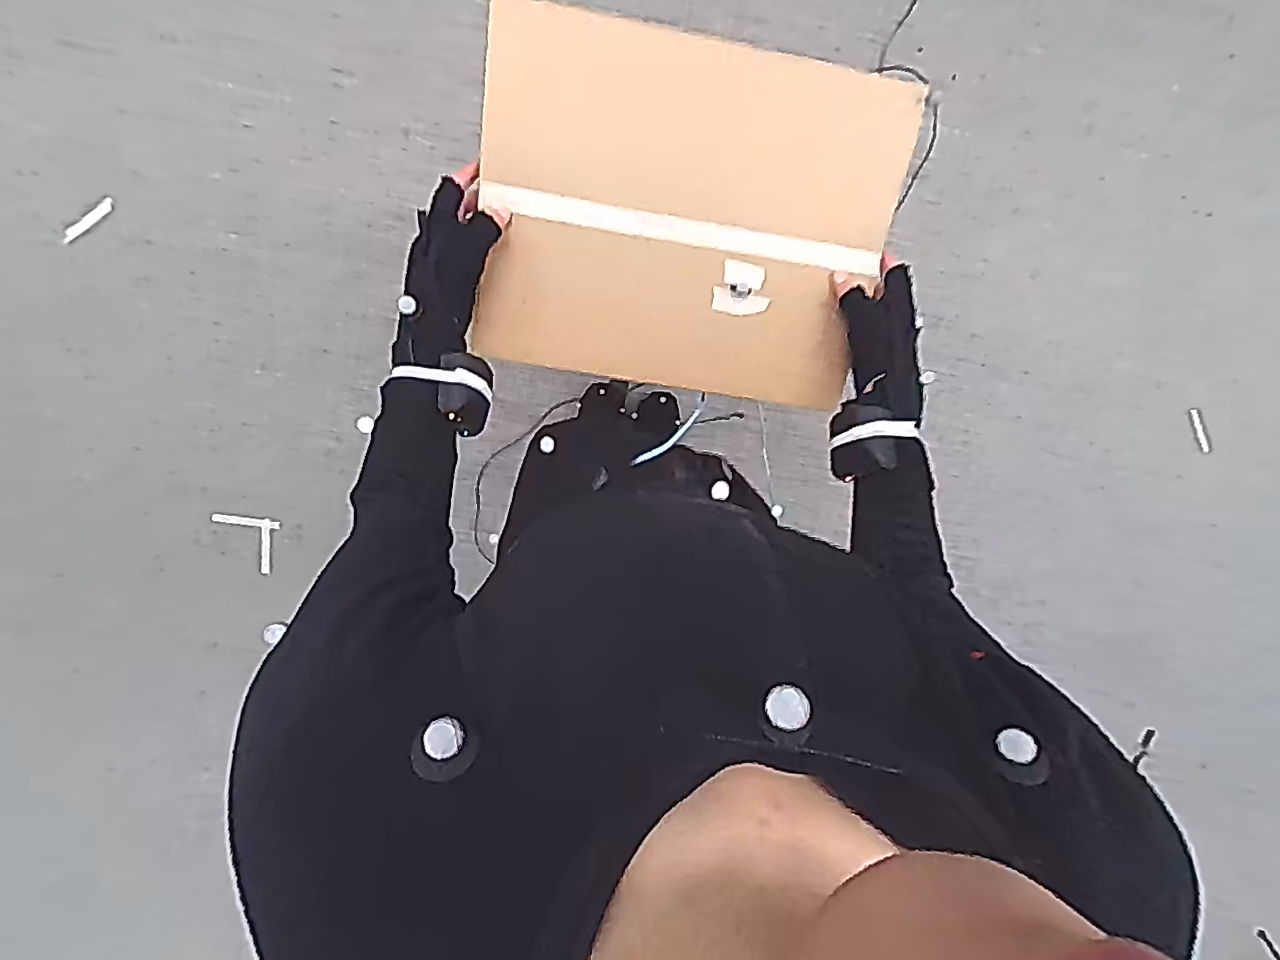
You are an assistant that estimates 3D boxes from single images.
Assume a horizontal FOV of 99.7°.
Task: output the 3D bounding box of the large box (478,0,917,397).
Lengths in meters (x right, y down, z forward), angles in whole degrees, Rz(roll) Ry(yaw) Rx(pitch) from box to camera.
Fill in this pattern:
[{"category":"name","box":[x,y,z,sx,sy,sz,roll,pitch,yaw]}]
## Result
[{"category":"large box","box":[0.036,-0.312,0.680,0.408,0.320,0.320,8,112,-6]}]
